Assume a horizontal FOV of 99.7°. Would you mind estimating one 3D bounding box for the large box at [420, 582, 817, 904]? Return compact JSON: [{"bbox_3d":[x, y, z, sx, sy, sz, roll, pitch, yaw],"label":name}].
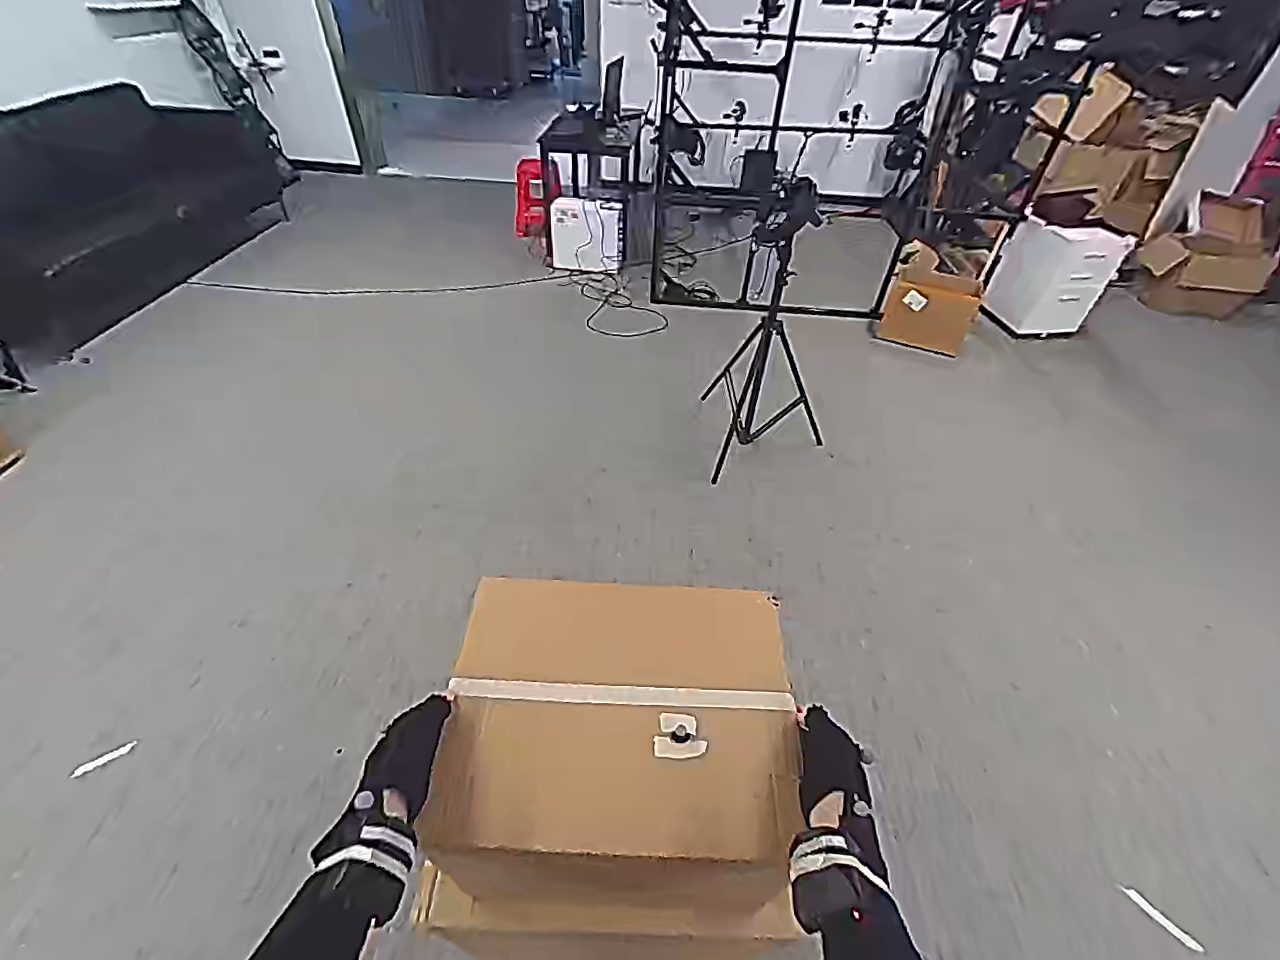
[{"bbox_3d":[-0.028,0.360,0.739,0.408,0.320,0.320,3,44,-2],"label":"large box"}]
